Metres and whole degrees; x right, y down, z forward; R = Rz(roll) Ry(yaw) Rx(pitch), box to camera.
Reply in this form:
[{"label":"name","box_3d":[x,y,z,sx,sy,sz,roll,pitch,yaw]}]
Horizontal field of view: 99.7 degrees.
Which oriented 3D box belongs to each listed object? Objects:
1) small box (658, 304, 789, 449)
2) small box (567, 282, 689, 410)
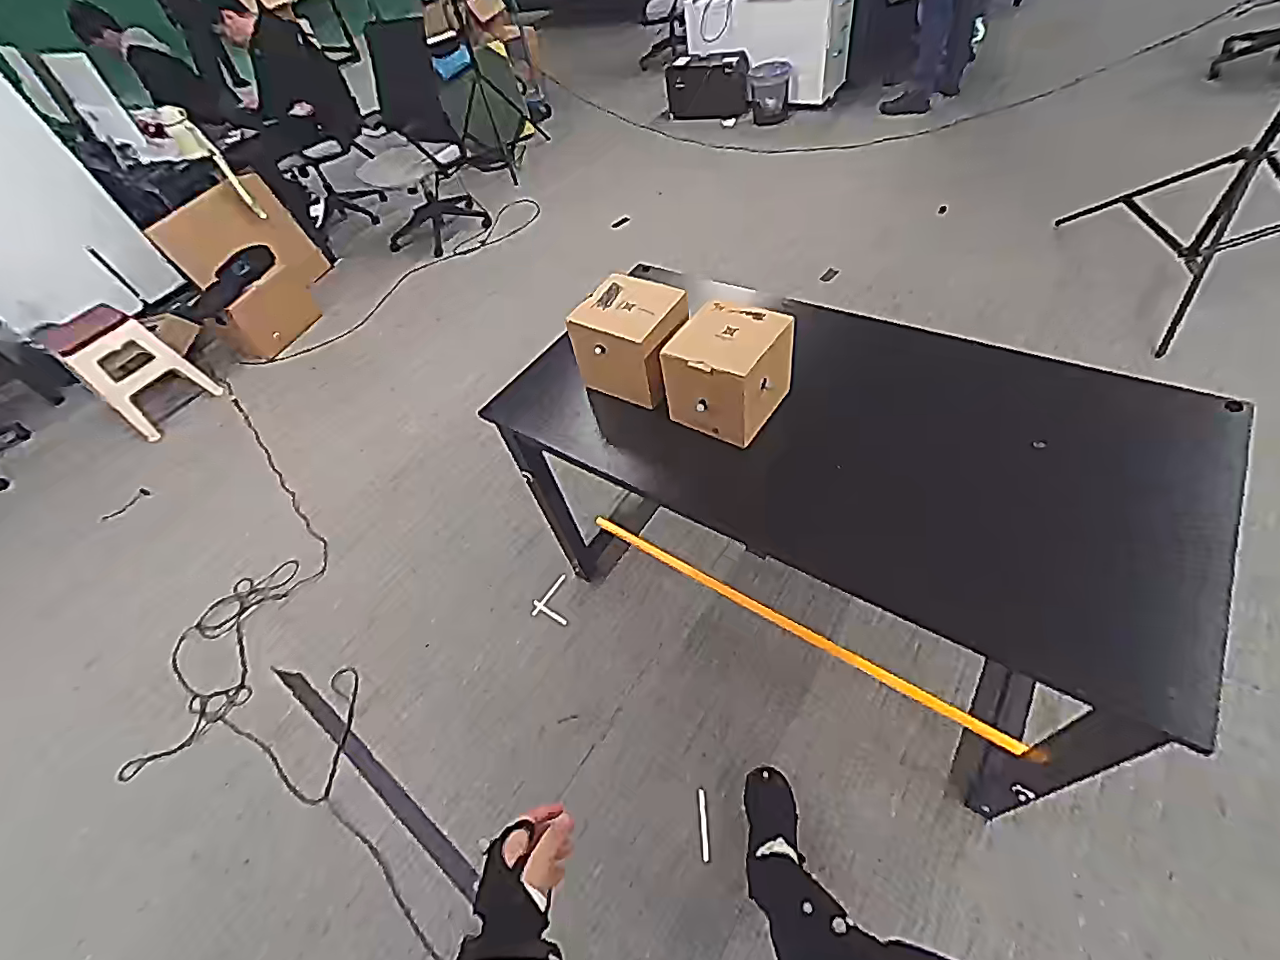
[{"label":"small box","box_3d":[0.159,-0.186,0.987,0.168,0.176,0.179,25,61,28]},{"label":"small box","box_3d":[-0.015,-0.266,1.087,0.179,0.176,0.168,23,60,26]}]
